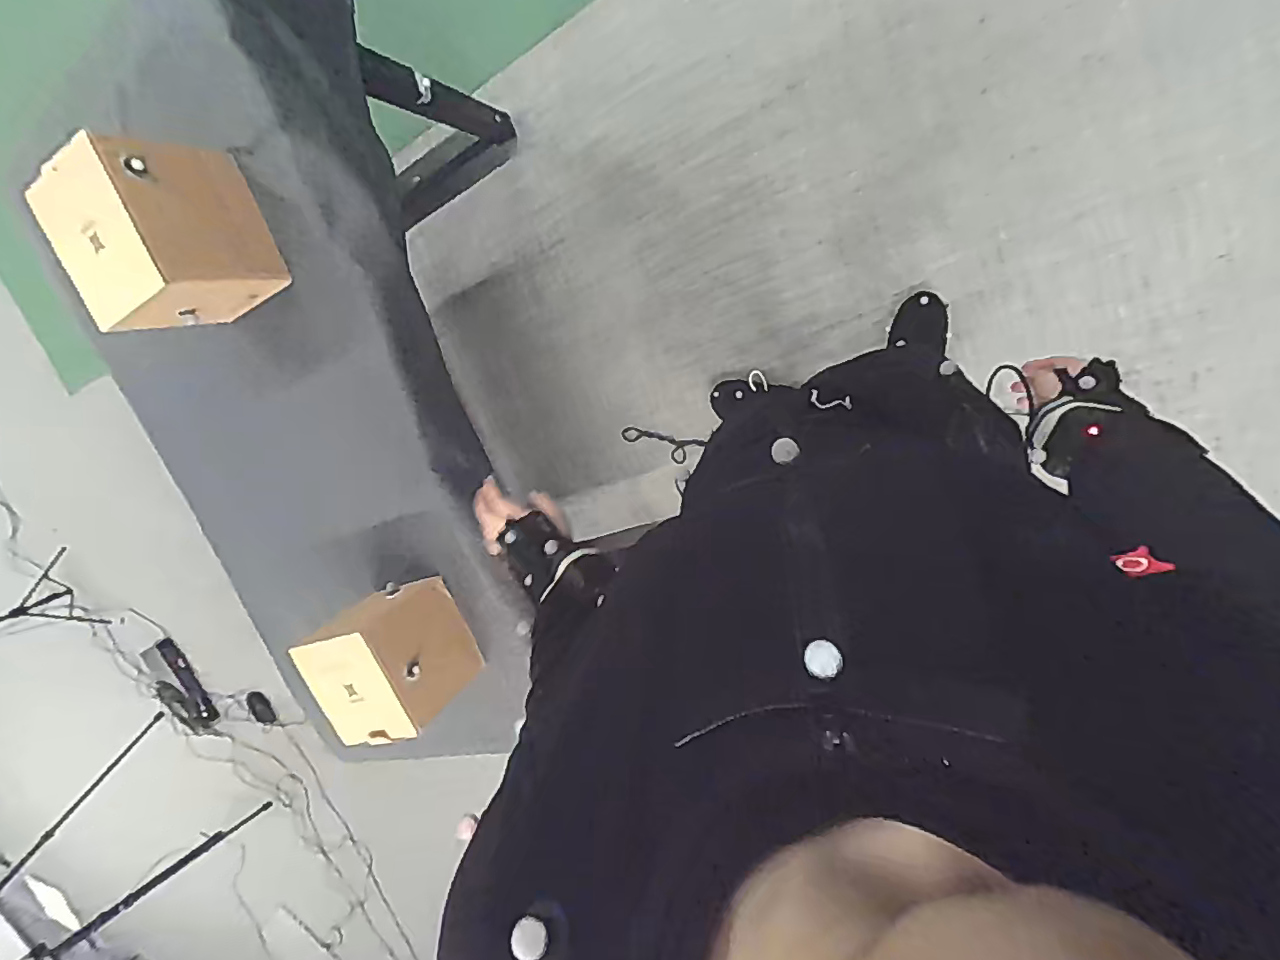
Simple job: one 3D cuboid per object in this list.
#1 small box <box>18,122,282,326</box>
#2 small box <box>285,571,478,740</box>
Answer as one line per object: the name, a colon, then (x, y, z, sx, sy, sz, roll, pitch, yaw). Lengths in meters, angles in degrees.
small box: (-0.617, -0.318, 0.701, 0.168, 0.176, 0.179, -14, 104, 25)
small box: (-0.385, 0.267, 0.835, 0.168, 0.176, 0.179, -18, 101, 25)
